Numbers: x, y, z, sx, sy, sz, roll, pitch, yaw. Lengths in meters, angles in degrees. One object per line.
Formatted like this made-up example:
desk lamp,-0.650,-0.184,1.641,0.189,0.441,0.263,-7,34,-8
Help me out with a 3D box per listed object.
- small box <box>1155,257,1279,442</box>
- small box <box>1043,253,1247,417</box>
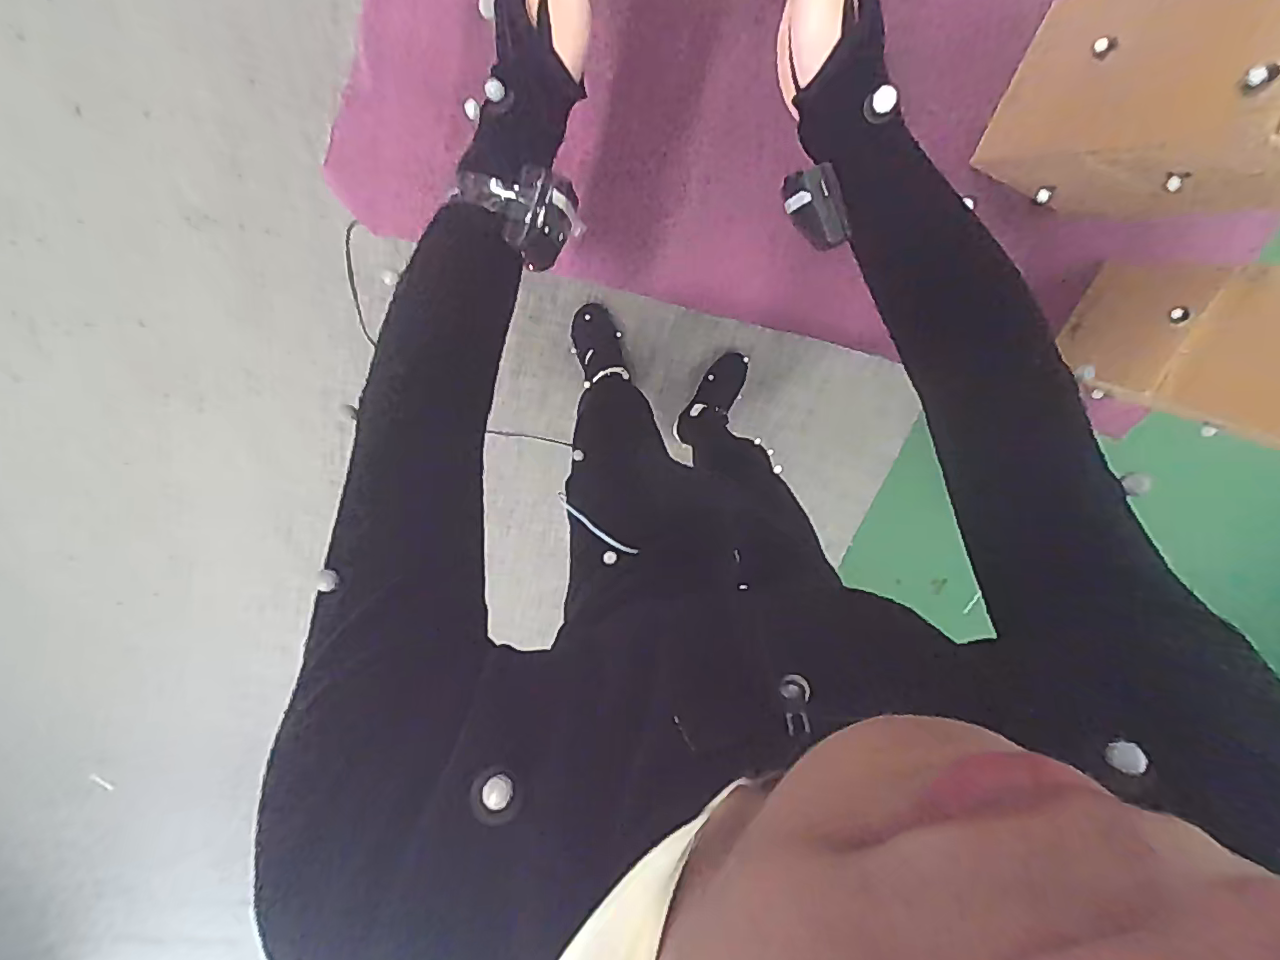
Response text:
small box,0.756,-0.135,0.605,0.168,0.176,0.179,15,113,-15
small box,0.728,-0.204,0.750,0.179,0.176,0.168,14,112,-16
